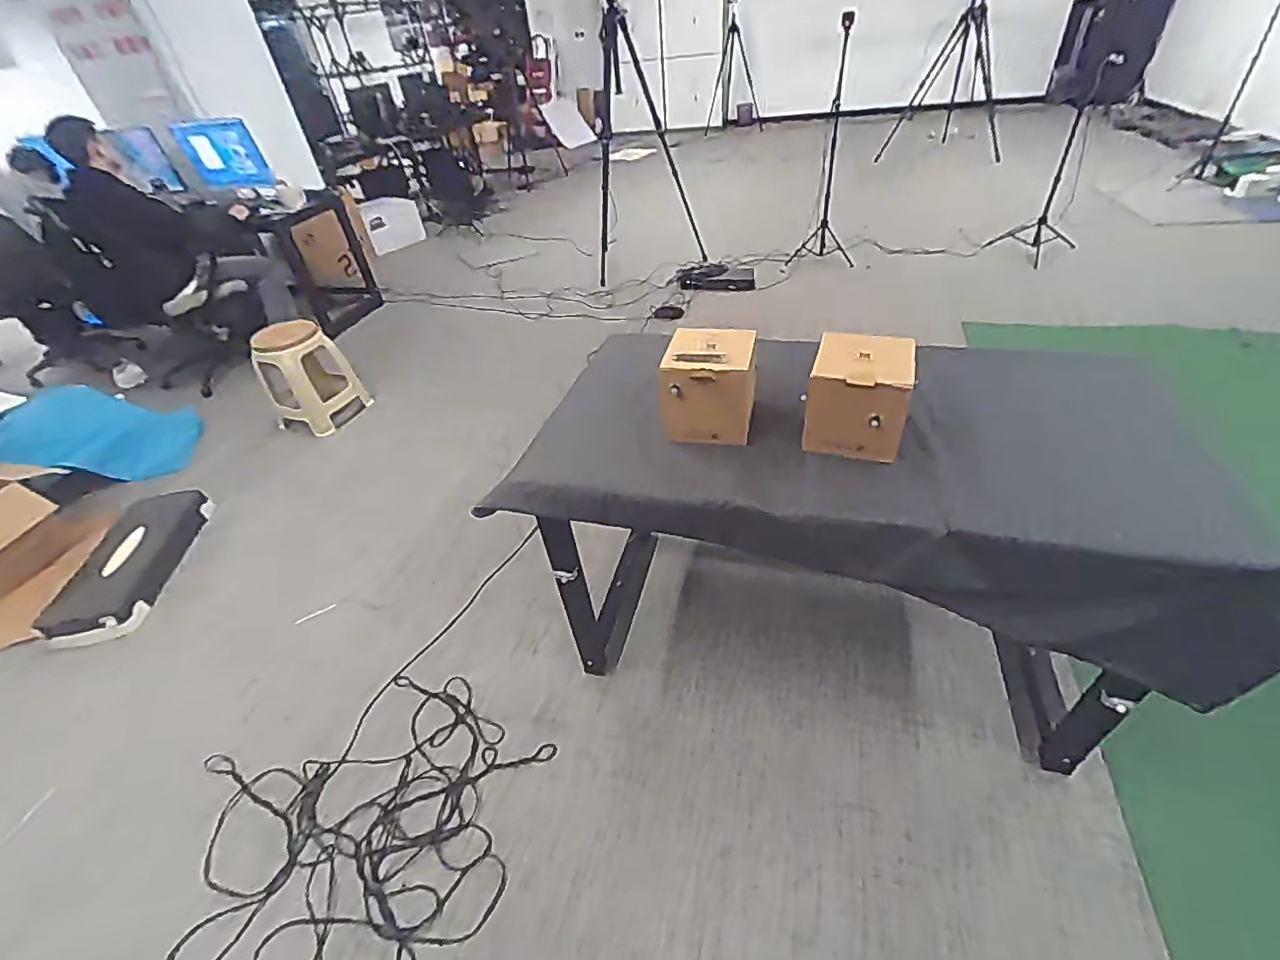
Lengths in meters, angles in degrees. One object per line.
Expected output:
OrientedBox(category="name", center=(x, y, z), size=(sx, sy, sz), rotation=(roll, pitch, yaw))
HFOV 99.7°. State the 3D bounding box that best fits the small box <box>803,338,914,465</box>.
OrientedBox(category="small box", center=(0.409, -0.149, 1.019), size=(0.168, 0.176, 0.179), rotation=(10, 41, 19))
